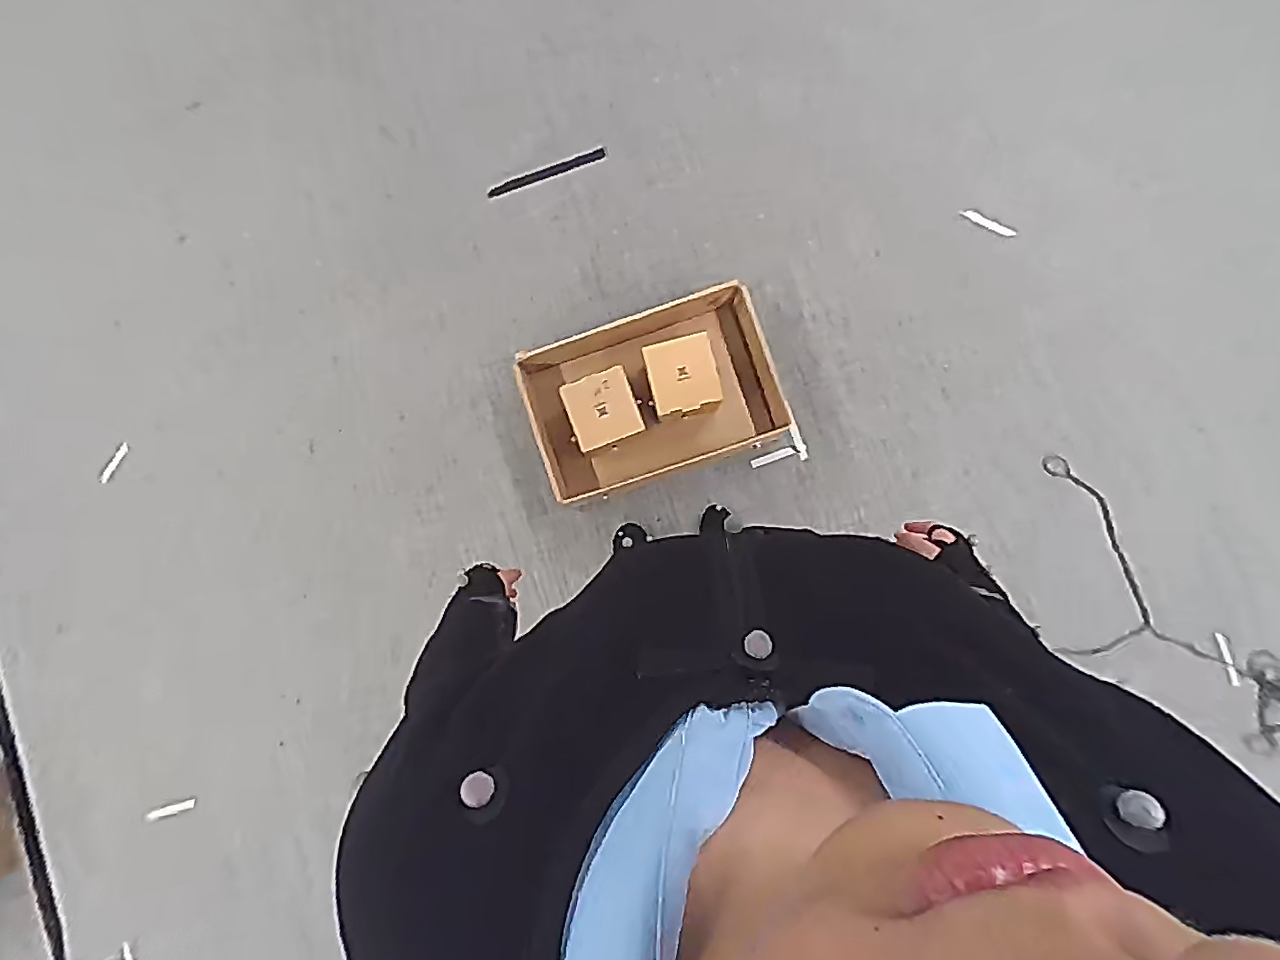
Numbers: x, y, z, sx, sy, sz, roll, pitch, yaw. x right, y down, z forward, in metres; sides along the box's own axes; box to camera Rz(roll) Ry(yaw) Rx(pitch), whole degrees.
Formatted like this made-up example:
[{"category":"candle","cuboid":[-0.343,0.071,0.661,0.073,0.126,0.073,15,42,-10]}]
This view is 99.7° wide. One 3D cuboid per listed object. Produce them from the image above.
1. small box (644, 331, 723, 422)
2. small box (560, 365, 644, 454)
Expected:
[{"category":"small box","cuboid":[0.108,-0.261,1.397,0.168,0.176,0.179,-14,88,2]},{"category":"small box","cuboid":[-0.091,-0.172,1.400,0.168,0.176,0.179,-21,87,0]}]
